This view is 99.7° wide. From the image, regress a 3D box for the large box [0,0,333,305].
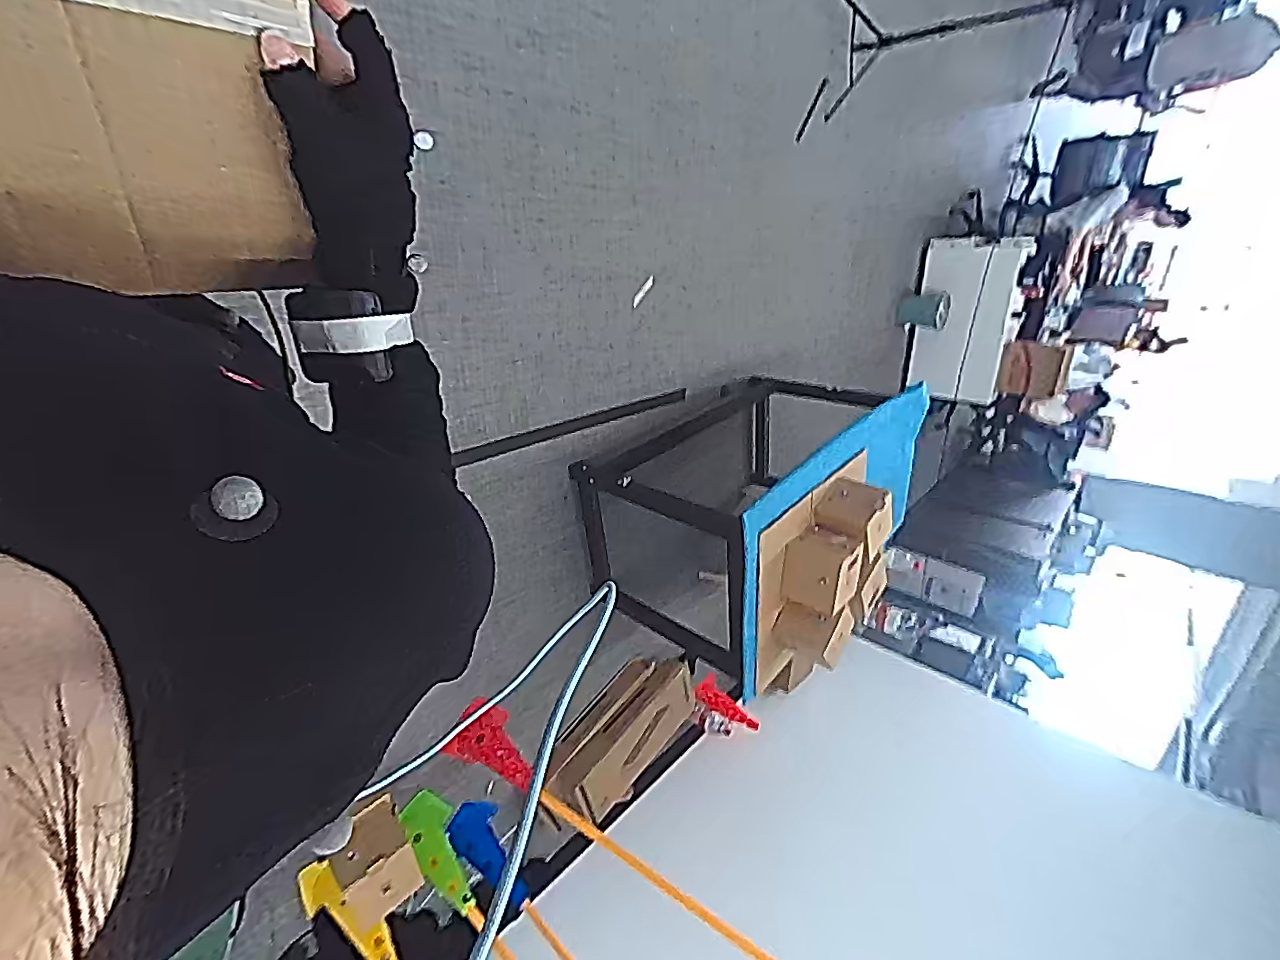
[{"bbox_3d":[-0.424,-0.297,0.254,0.408,0.320,0.320,-19,147,-38],"label":"large box"}]
